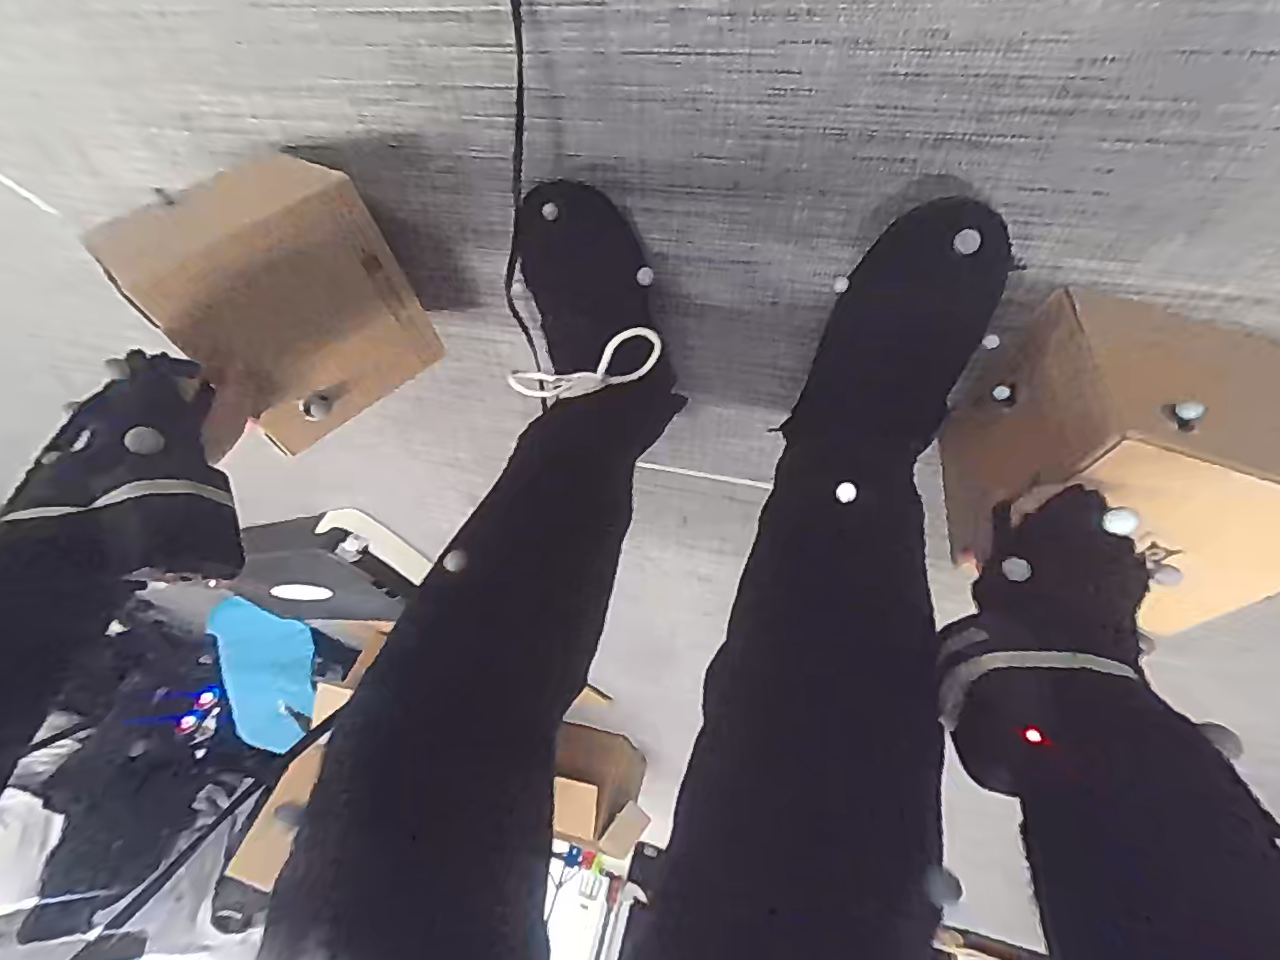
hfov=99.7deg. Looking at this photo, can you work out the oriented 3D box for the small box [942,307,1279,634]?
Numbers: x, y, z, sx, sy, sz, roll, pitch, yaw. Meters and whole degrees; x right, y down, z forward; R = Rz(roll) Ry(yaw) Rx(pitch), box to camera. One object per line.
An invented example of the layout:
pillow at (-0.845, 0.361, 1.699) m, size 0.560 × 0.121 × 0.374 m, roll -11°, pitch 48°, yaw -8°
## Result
small box at (0.370, -0.008, 0.424) m, size 0.179 × 0.176 × 0.168 m, roll 17°, pitch 142°, yaw 2°
